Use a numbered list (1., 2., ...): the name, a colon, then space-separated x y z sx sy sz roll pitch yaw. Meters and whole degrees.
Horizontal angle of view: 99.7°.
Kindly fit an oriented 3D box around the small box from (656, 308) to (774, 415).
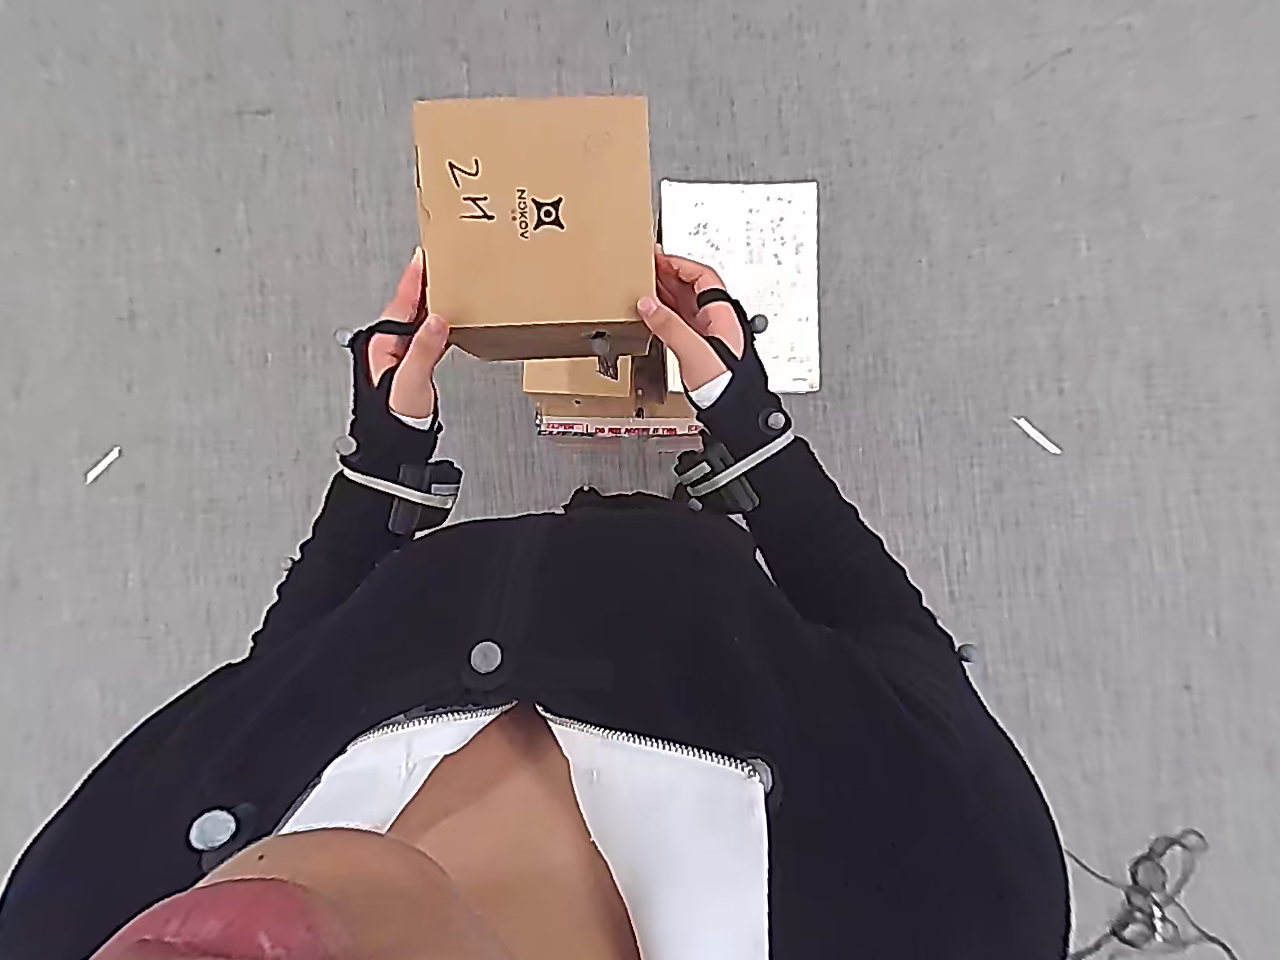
1. small box: 0.125 -0.210 0.958 0.179 0.176 0.168 -5 90 -1

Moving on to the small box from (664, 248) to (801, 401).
1. small box: 0.125 -0.218 0.795 0.168 0.176 0.179 -3 90 -1

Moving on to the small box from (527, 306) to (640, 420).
1. small box: -0.091 -0.198 0.958 0.179 0.176 0.168 3 91 2
